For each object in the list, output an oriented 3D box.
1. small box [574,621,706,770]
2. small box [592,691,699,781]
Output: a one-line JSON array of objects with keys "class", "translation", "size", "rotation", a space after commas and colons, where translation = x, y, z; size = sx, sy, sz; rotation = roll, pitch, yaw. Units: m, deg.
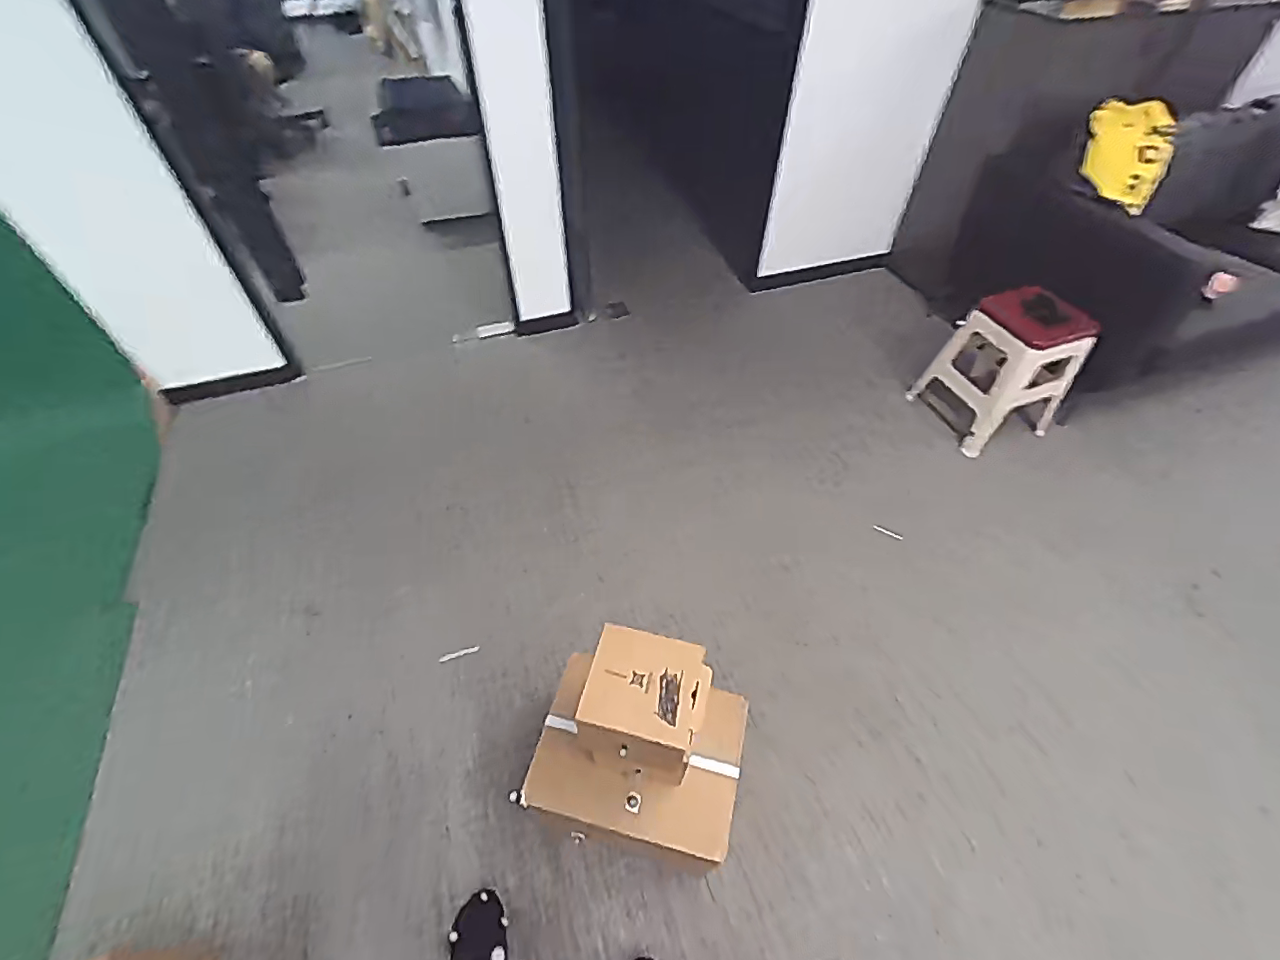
[{"class": "small box", "translation": [0.004, 0.367, 0.911], "size": [0.179, 0.176, 0.168], "rotation": [12, 50, 10]}, {"class": "small box", "translation": [0.011, 0.463, 1.045], "size": [0.179, 0.176, 0.168], "rotation": [10, 49, 5]}]
